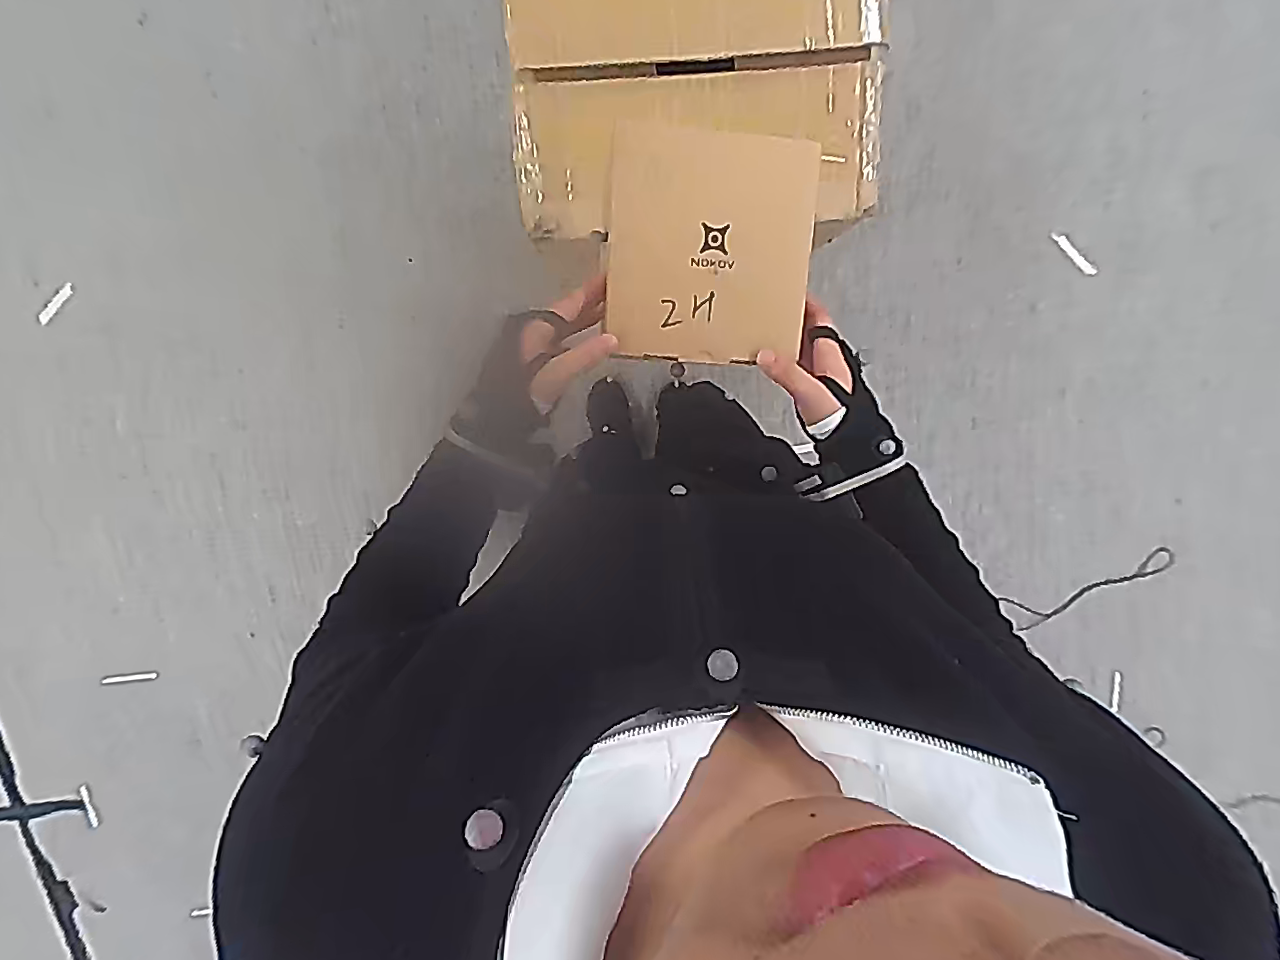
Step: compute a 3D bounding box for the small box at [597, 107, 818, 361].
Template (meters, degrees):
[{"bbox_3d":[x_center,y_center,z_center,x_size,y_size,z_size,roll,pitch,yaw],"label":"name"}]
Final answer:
[{"bbox_3d":[0.047,-0.209,0.510,0.168,0.176,0.179,2,101,-7],"label":"small box"}]
